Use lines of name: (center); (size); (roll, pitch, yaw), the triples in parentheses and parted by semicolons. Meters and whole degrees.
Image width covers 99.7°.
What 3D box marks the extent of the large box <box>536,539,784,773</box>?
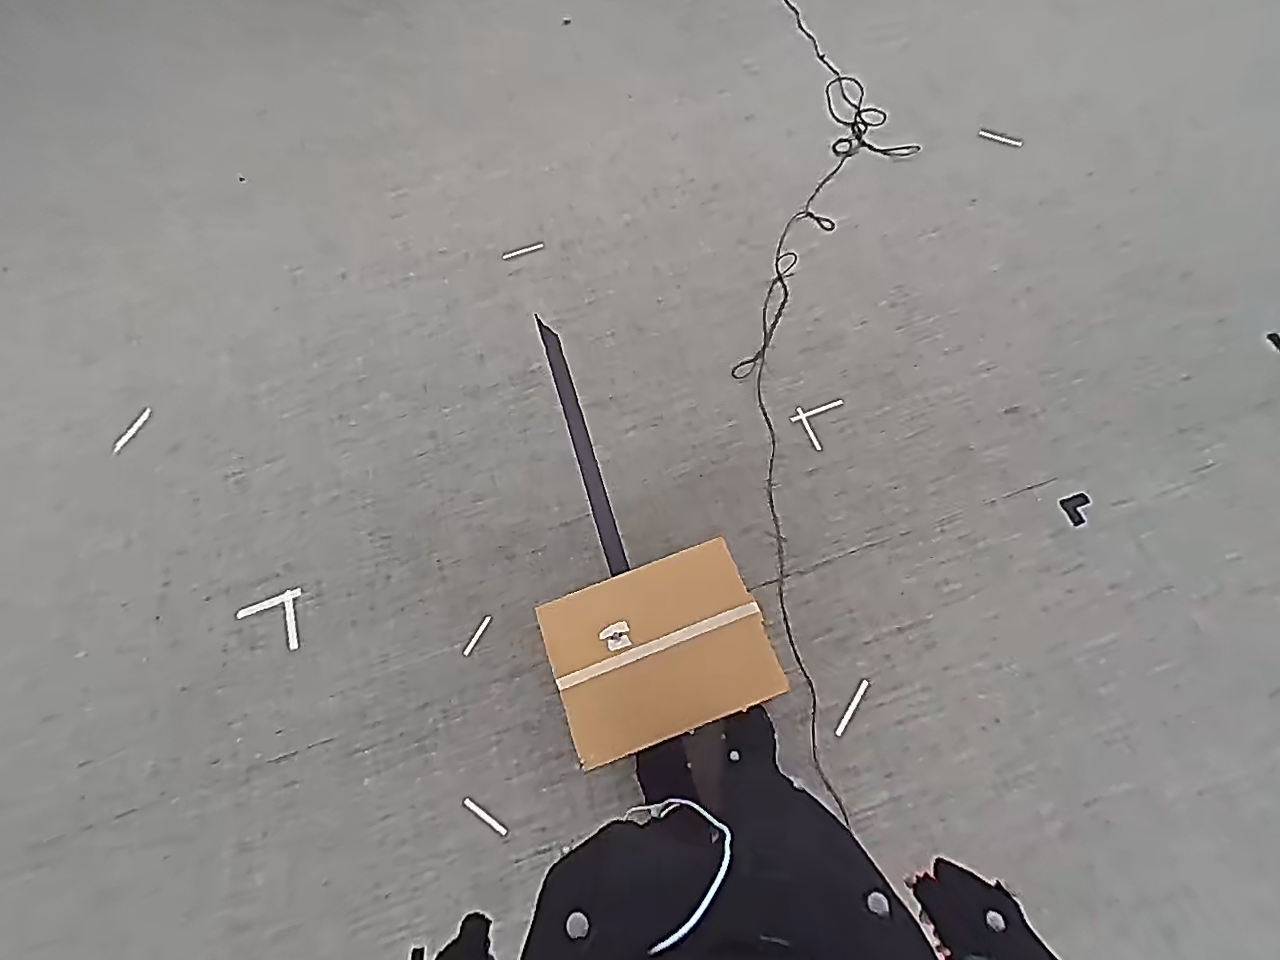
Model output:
large box: (0.045, 0.372, 1.165); (0.408, 0.320, 0.320); (-21, 68, -2)
